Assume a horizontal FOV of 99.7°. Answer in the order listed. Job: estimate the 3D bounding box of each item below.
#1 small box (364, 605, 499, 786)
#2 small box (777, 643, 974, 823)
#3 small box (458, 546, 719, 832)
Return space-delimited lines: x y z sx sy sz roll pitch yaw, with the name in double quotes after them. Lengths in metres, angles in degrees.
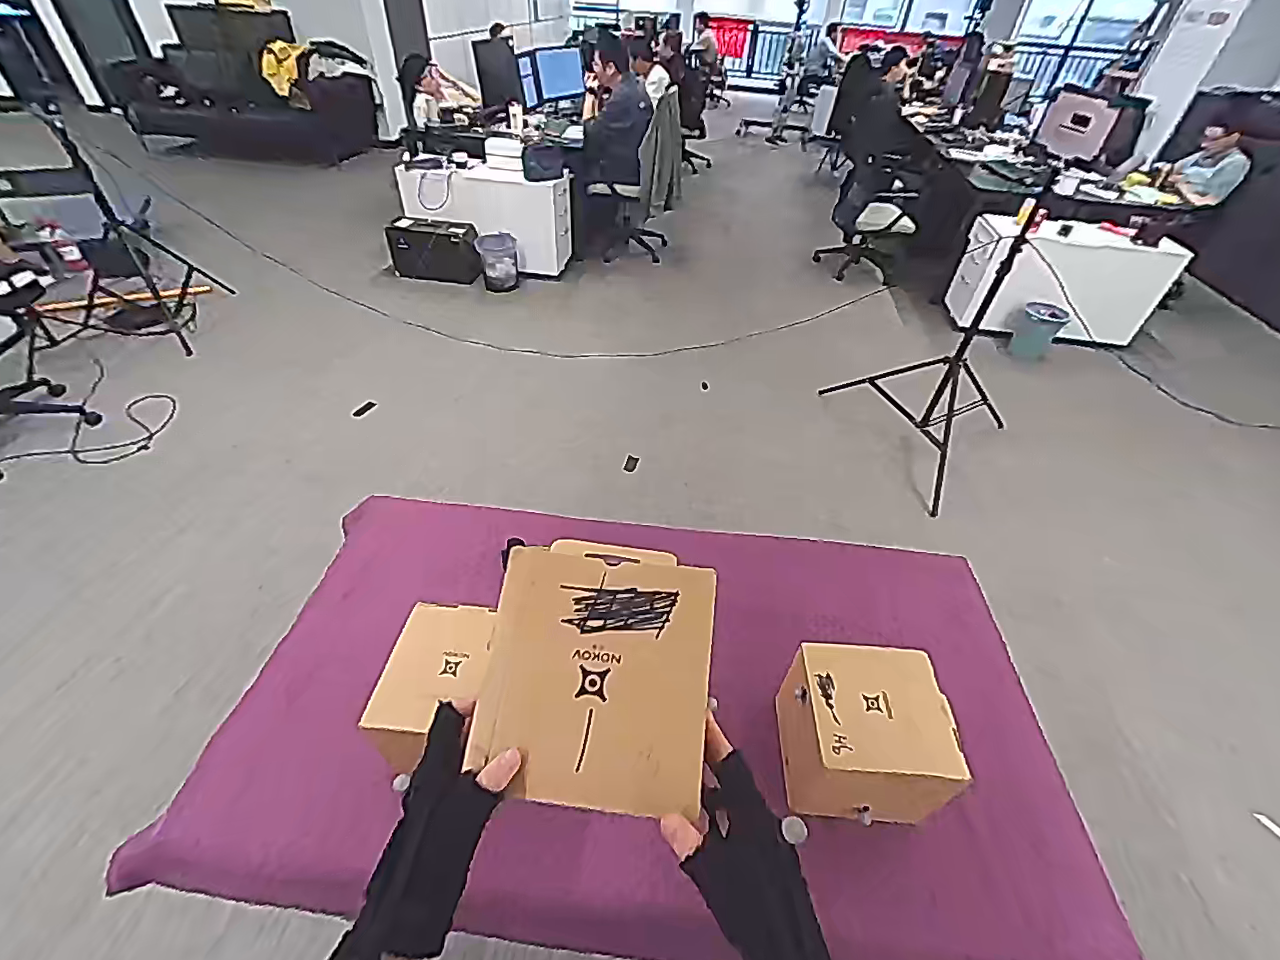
-0.241 0.298 0.743 0.168 0.176 0.179 5 43 2 "small box"
0.300 0.345 0.733 0.179 0.176 0.168 5 42 1 "small box"
-0.030 0.172 0.460 0.168 0.176 0.179 6 66 4 "small box"
